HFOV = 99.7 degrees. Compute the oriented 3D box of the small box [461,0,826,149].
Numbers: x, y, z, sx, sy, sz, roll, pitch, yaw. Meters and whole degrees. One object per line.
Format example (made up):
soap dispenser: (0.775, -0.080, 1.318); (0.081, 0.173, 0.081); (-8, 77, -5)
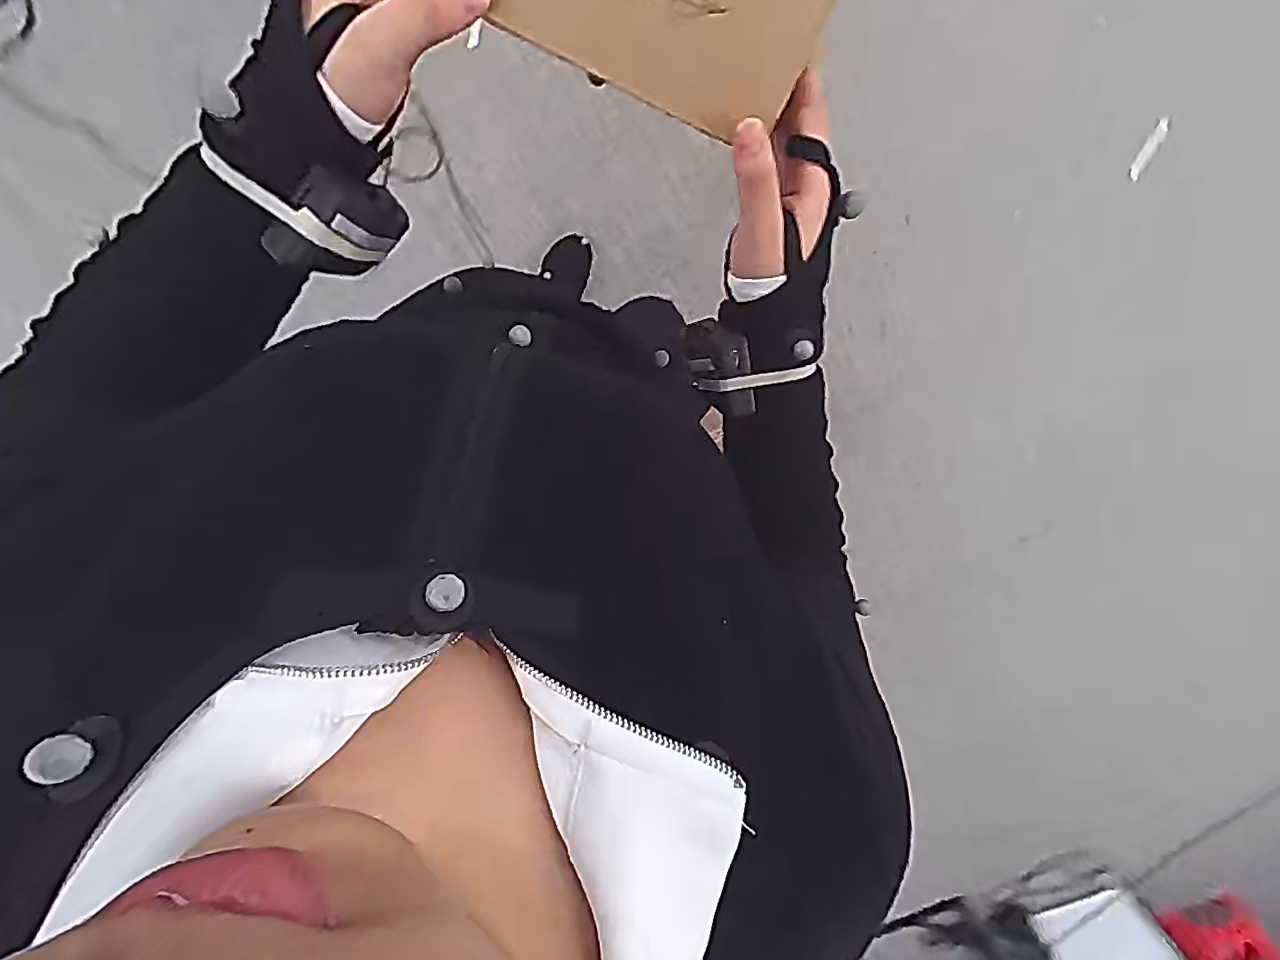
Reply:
small box: (0.017, -0.310, 0.271); (0.168, 0.176, 0.179); (17, 130, -15)
